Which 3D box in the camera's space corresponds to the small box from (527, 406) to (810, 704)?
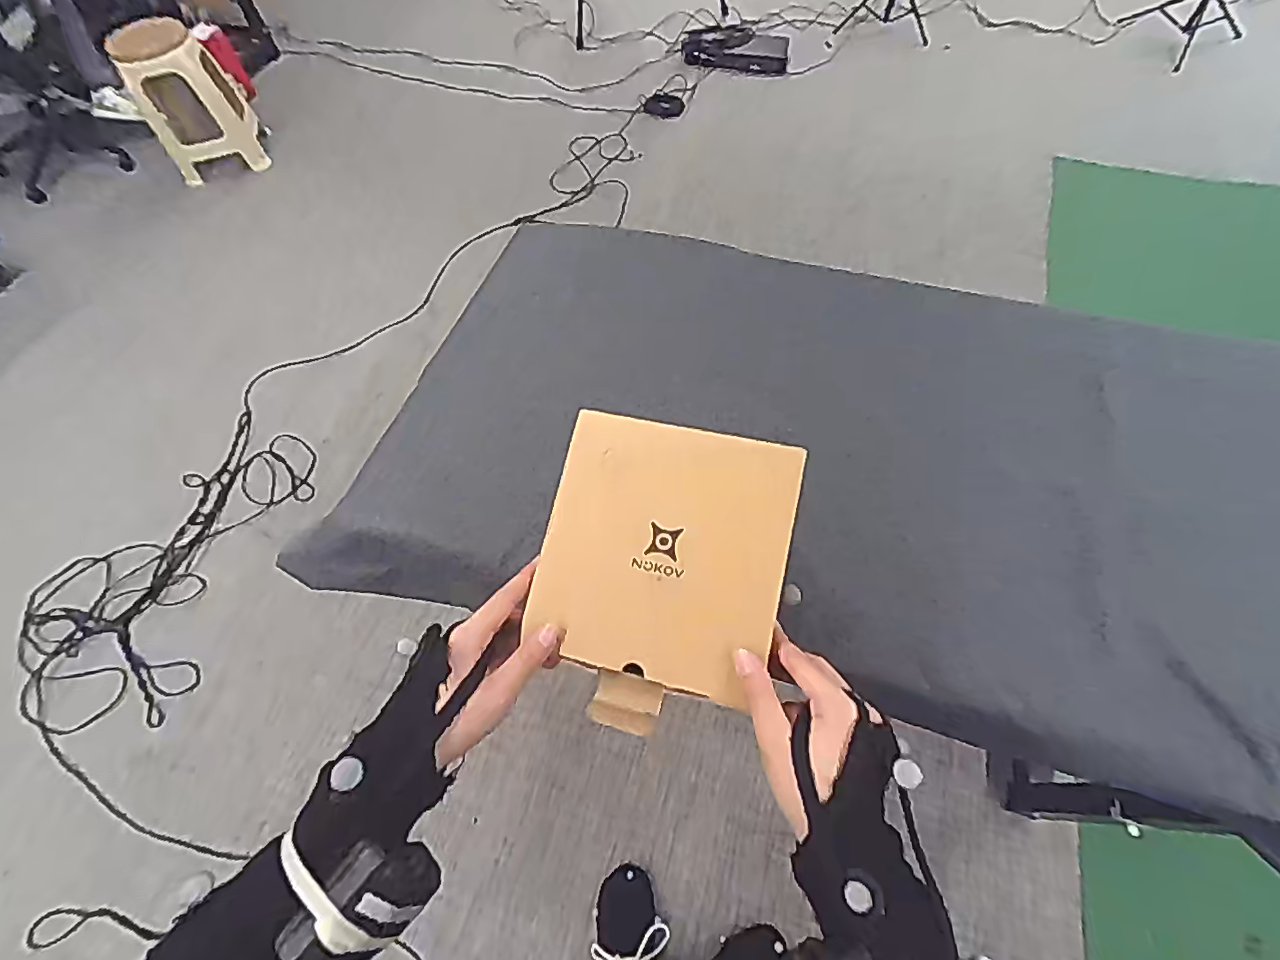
[{"bbox_3d":[0.030,0.062,0.446,0.168,0.176,0.179,11,78,11],"label":"small box"}]
